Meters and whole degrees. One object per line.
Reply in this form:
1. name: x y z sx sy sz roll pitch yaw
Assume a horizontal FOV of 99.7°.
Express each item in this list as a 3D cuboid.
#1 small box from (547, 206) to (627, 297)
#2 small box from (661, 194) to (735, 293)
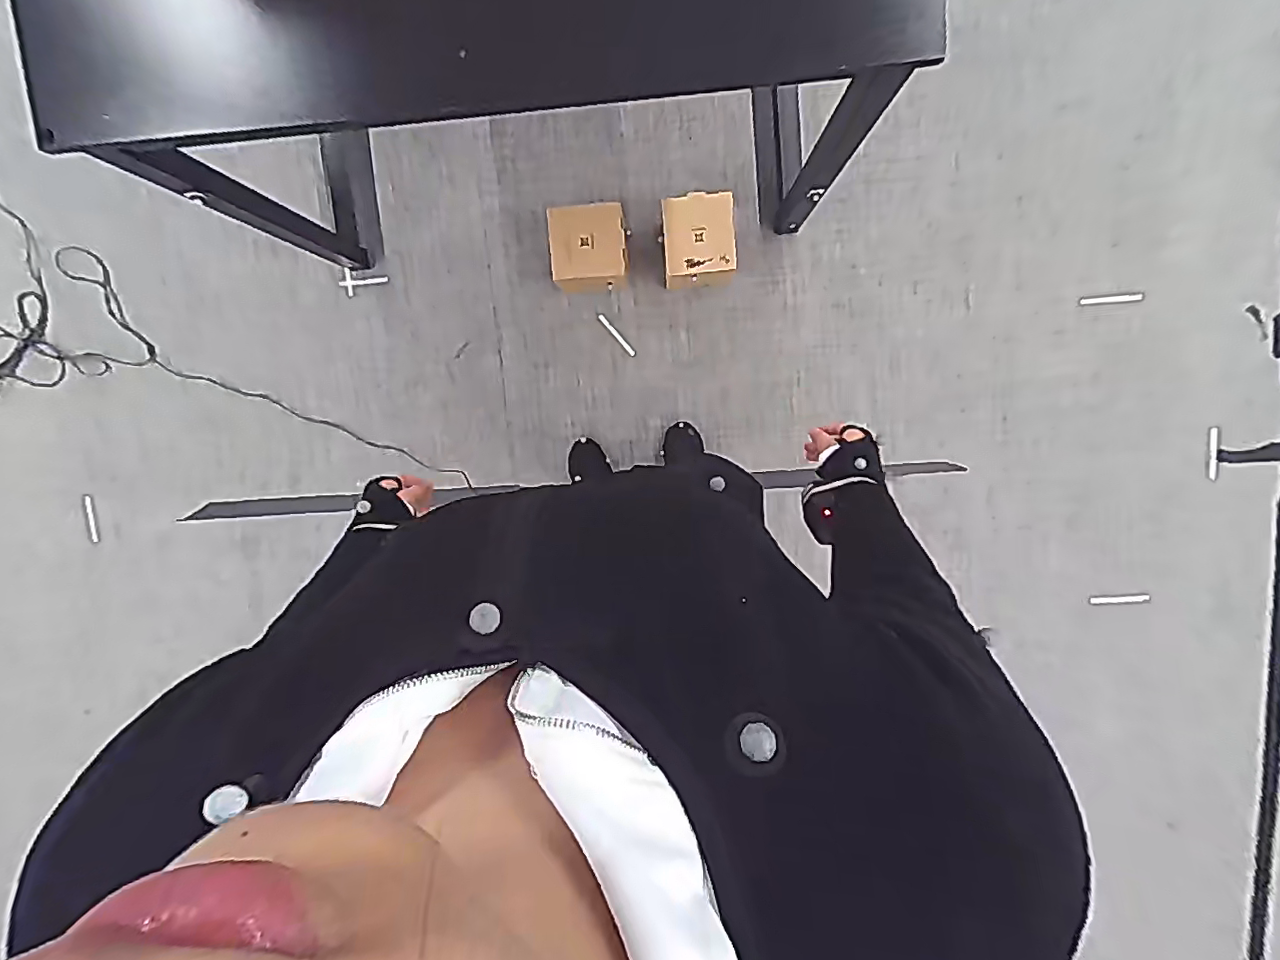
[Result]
1. small box: -0.125 -0.564 1.350 0.179 0.176 0.168 -4 96 4
2. small box: 0.137 -0.576 1.335 0.168 0.176 0.179 -5 96 4
